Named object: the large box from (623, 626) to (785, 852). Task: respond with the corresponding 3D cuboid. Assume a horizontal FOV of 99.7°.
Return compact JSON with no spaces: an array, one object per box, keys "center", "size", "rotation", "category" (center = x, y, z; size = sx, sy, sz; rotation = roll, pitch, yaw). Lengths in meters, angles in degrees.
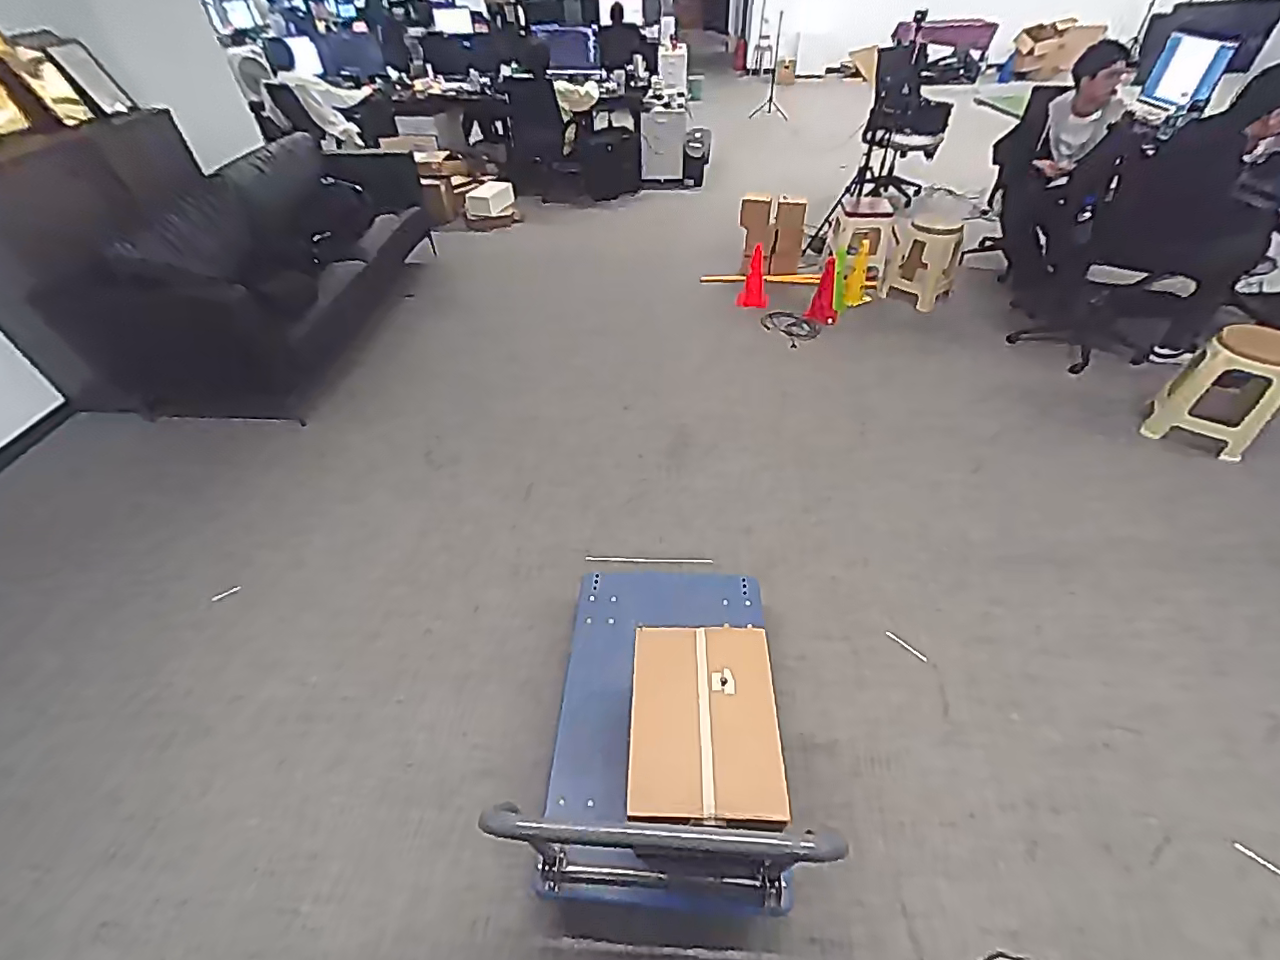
[{"center":[0.132,0.601,1.263],"size":[0.320,0.320,0.408],"rotation":[1,44,2],"category":"large box"}]
